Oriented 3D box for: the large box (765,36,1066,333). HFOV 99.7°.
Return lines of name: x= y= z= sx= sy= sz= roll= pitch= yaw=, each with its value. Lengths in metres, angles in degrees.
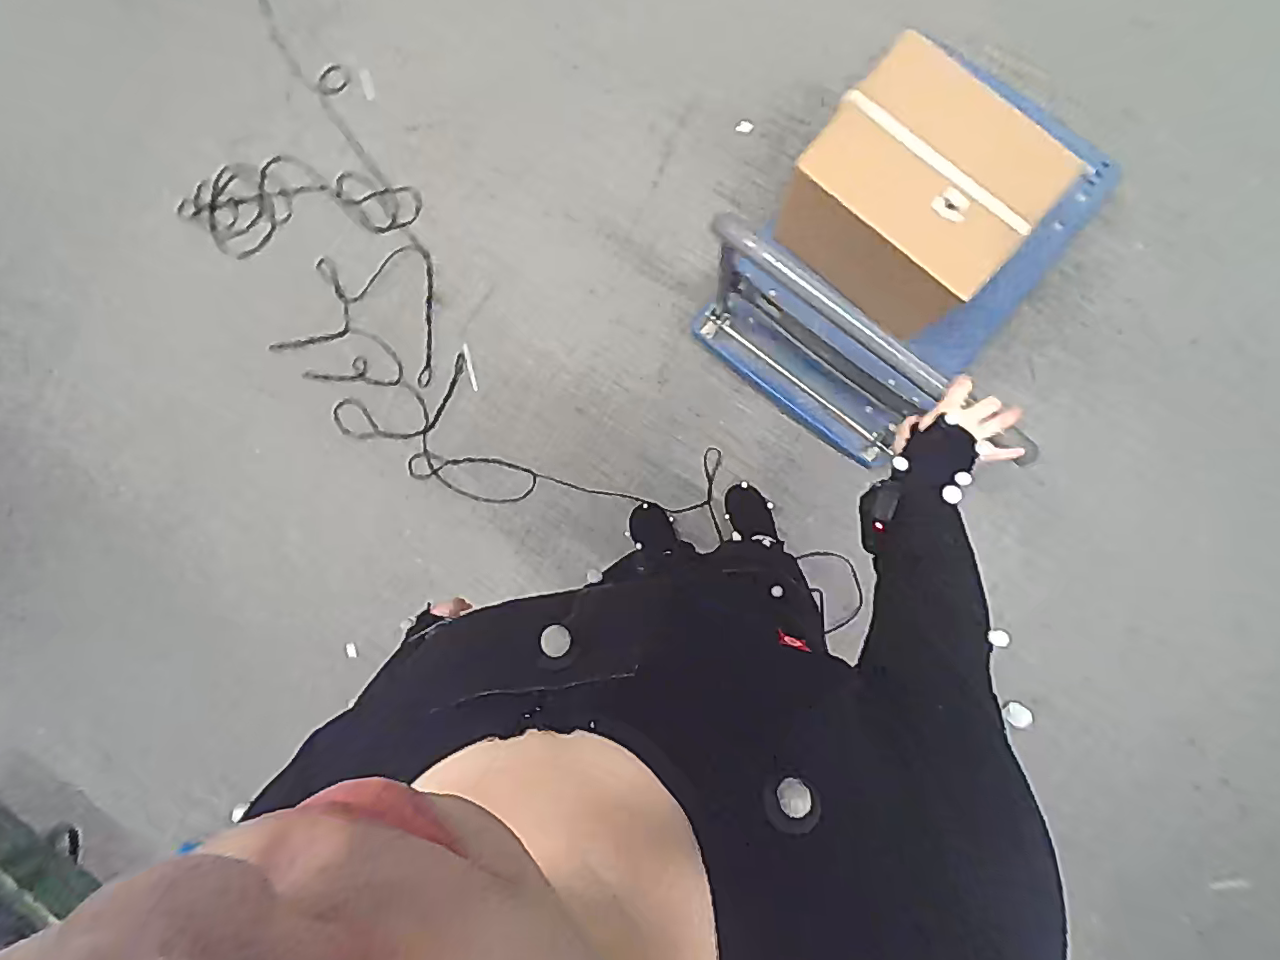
large box: x=0.535 y=-0.585 z=1.143 sx=0.408 sy=0.320 sz=0.320 roll=40 pitch=94 yaw=2
